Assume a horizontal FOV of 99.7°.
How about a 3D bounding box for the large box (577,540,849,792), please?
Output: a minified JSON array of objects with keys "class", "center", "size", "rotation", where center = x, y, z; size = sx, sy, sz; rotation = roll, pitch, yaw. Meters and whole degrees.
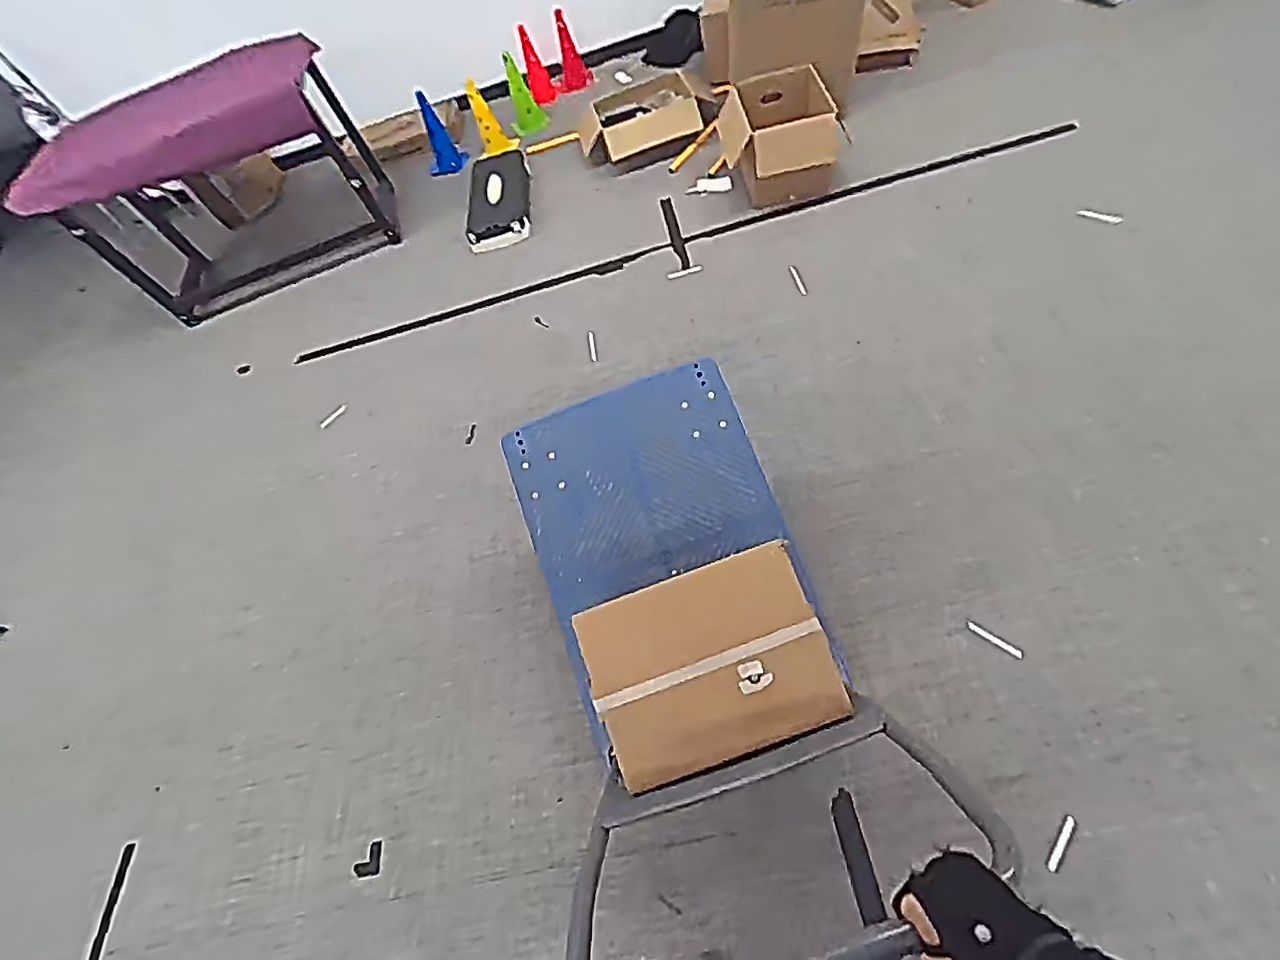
[{"class":"large box","center":[0.130,0.351,1.095],"size":[0.408,0.320,0.320],"rotation":[-22,79,0]}]
